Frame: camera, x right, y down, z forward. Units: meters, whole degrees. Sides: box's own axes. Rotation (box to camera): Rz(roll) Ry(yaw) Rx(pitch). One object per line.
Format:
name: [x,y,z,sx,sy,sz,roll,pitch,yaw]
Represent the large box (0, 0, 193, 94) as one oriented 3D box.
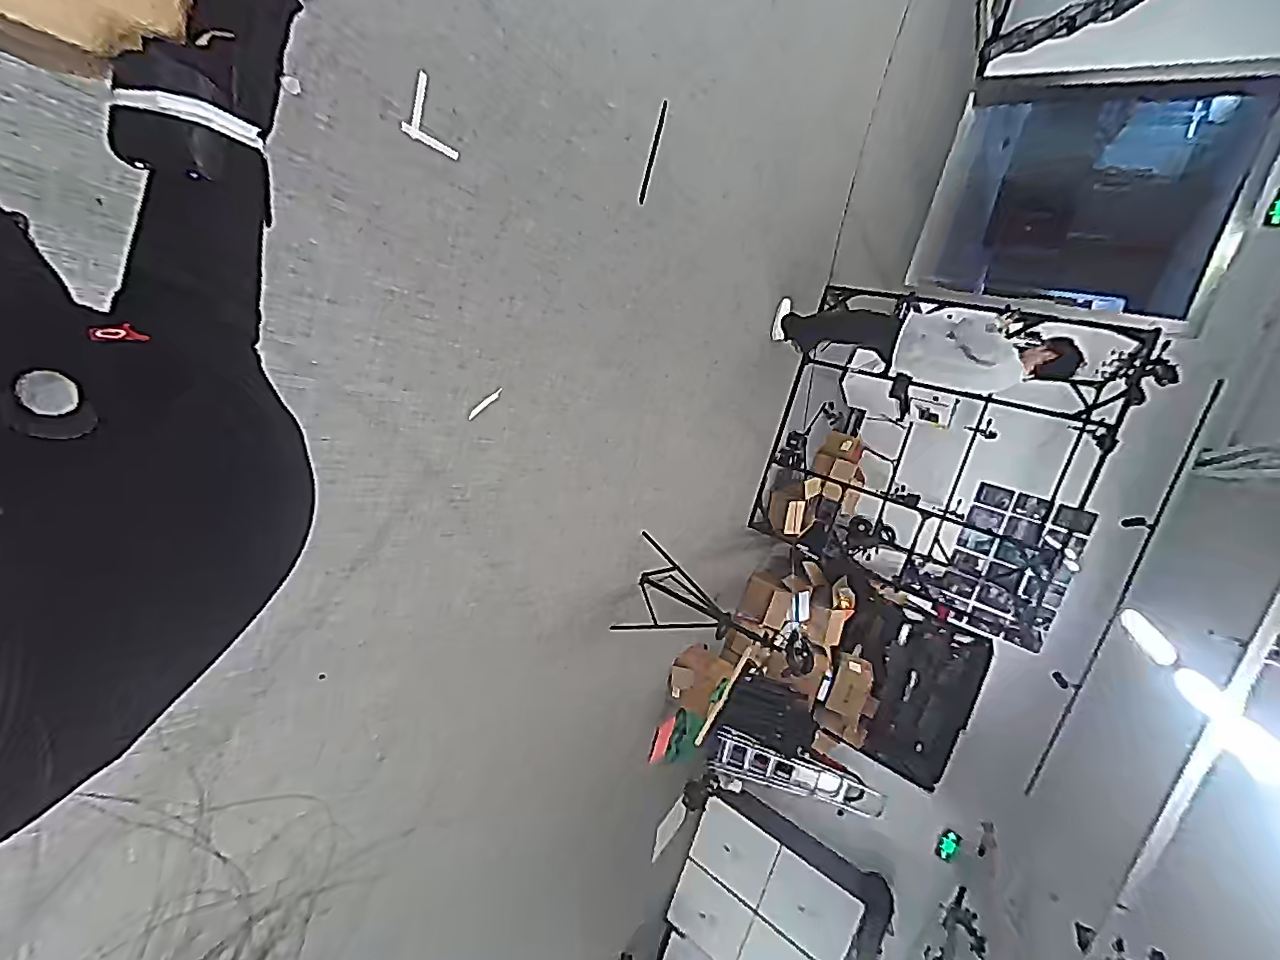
large box: [-0.505,-0.454,0.249,0.408,0.320,0.320,-8,121,-57]
